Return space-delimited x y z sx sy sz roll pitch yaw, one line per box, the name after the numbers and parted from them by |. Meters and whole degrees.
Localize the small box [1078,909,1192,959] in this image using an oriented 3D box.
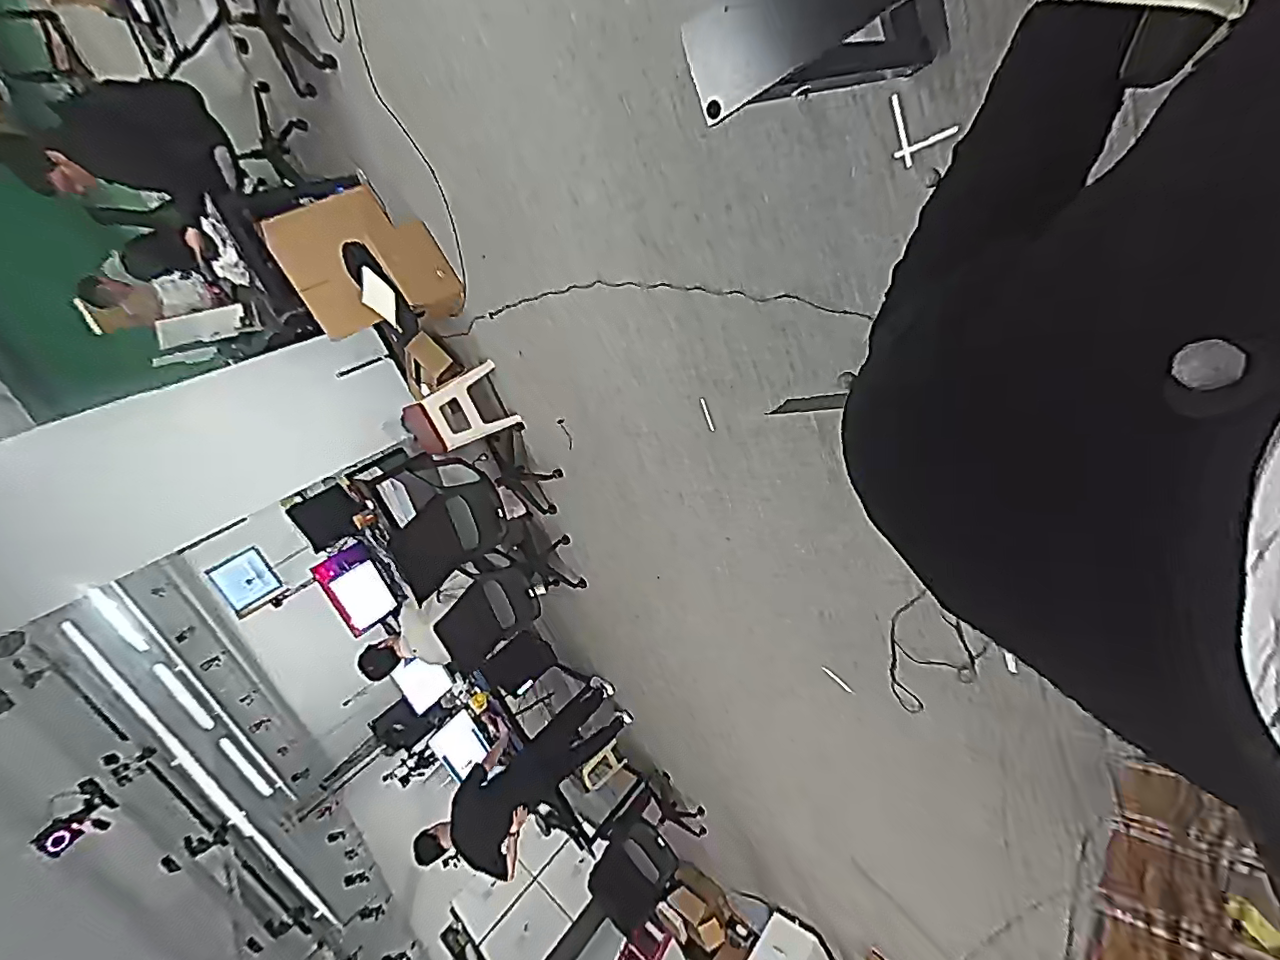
1.194 1.186 1.294 0.179 0.176 0.168 -10 108 53 | small box
